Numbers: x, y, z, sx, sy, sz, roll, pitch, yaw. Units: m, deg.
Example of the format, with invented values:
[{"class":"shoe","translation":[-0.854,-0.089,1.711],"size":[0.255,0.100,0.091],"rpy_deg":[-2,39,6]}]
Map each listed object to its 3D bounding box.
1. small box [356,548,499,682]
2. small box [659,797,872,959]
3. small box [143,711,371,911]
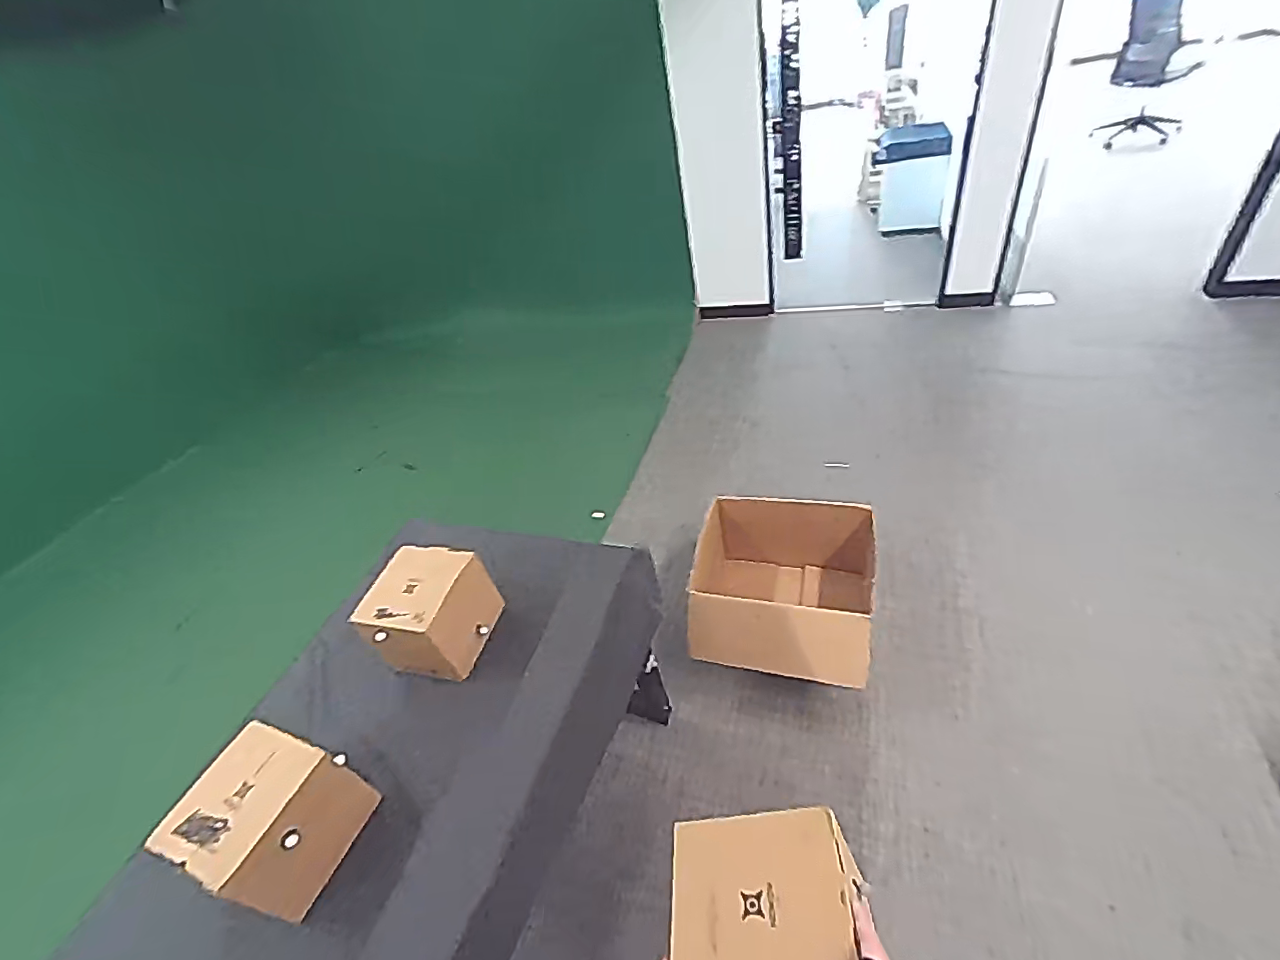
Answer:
[{"class":"small box","translation":[-0.391,0.255,1.035],"size":[0.168,0.176,0.179],"rpy_deg":[2,43,16]},{"class":"small box","translation":[0.132,0.452,0.542],"size":[0.179,0.176,0.168],"rpy_deg":[-17,28,16]},{"class":"small box","translation":[-0.536,0.479,0.784],"size":[0.168,0.176,0.179],"rpy_deg":[12,46,24]}]
